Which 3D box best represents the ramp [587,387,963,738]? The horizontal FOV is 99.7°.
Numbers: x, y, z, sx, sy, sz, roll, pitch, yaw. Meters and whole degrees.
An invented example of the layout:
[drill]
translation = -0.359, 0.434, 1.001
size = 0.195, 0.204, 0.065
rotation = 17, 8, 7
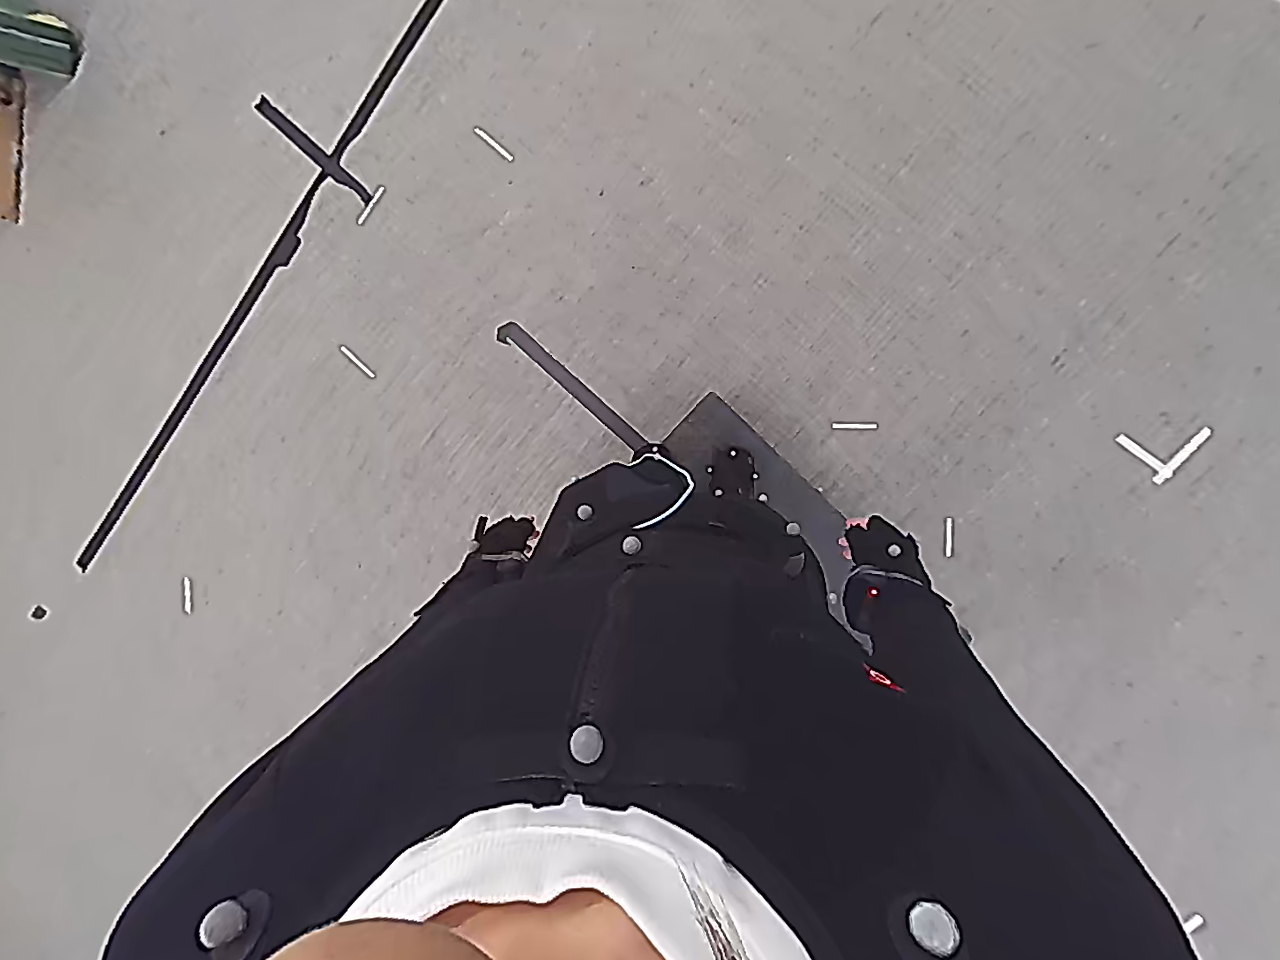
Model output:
[ramp]
translation = 0.379, 0.254, 1.488
size = 0.991, 0.206, 0.509
rotation = 42, 99, 4
